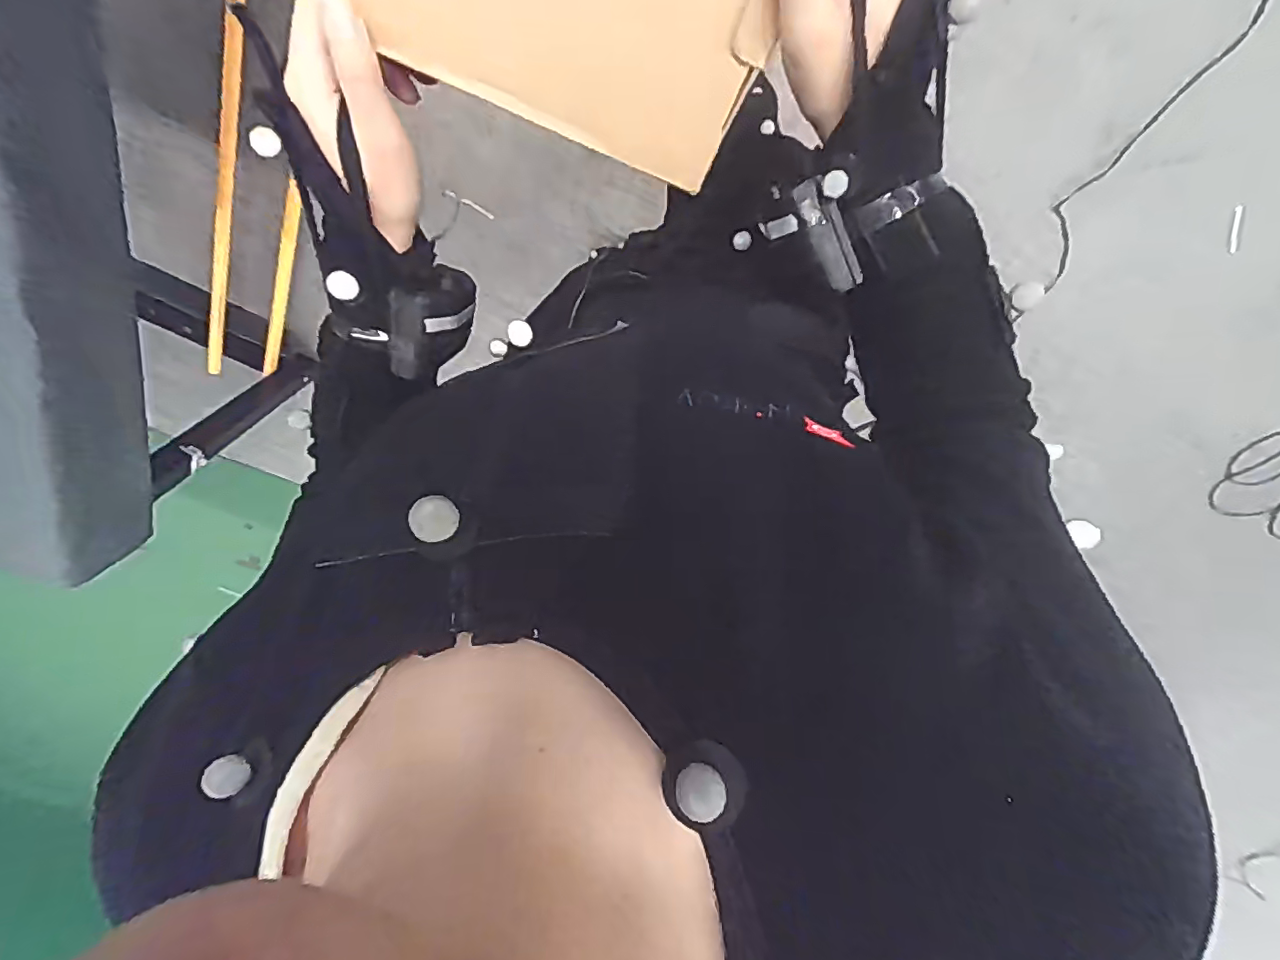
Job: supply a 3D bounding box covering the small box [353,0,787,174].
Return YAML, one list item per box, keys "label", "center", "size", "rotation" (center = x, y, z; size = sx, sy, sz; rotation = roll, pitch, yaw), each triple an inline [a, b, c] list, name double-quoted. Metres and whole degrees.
- label: "small box"
  center: [-0.015, -0.290, 0.260]
  size: [0.179, 0.176, 0.168]
  rotation: [16, 133, -16]
